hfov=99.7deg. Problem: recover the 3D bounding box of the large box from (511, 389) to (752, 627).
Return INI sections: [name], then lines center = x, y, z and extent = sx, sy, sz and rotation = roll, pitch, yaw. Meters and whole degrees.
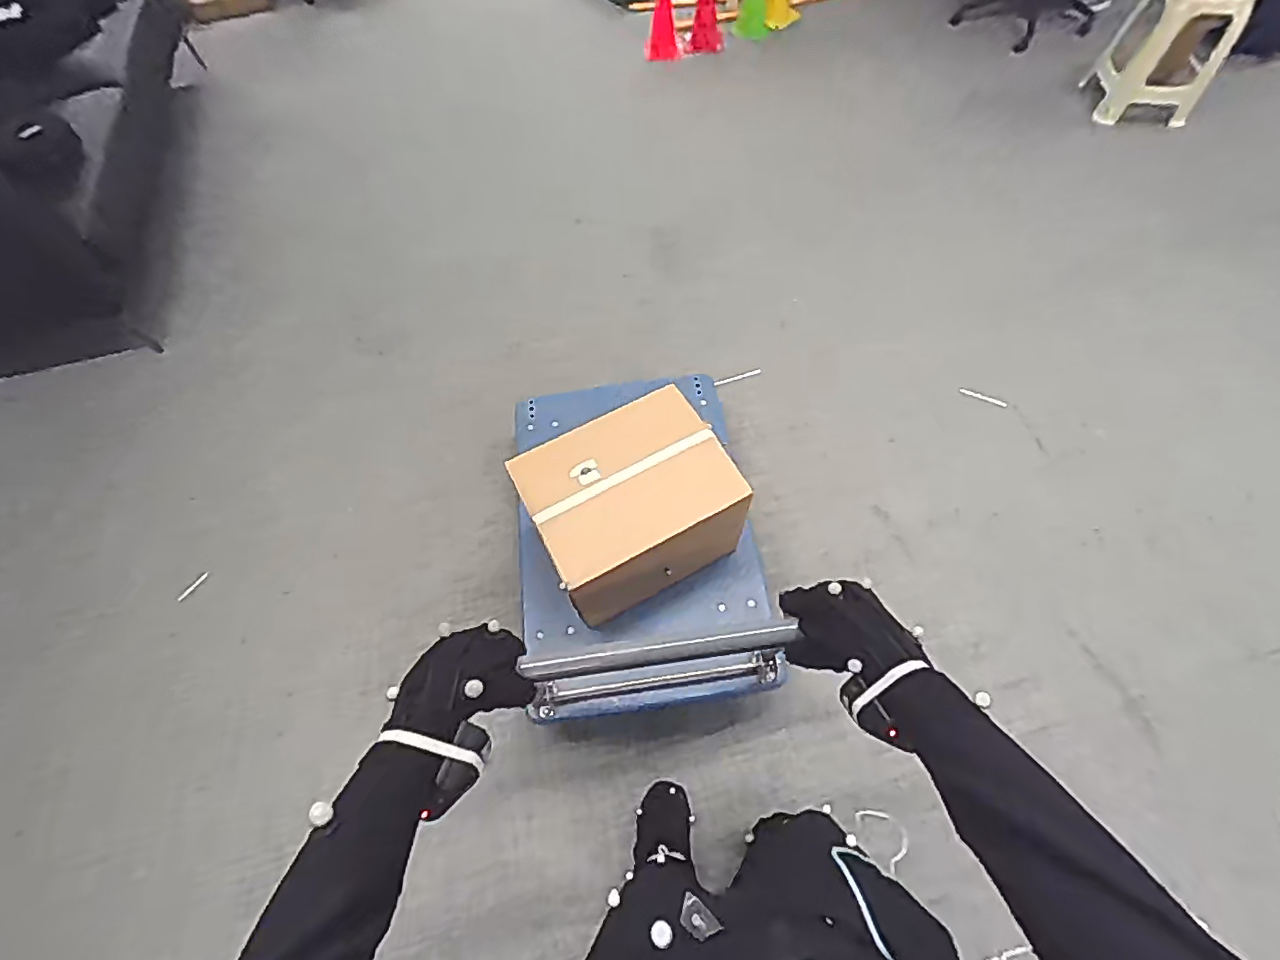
[large box]
center = -0.014, 0.072, 1.214
extent = 0.408, 0.320, 0.320
rotation = -27, 64, -10
